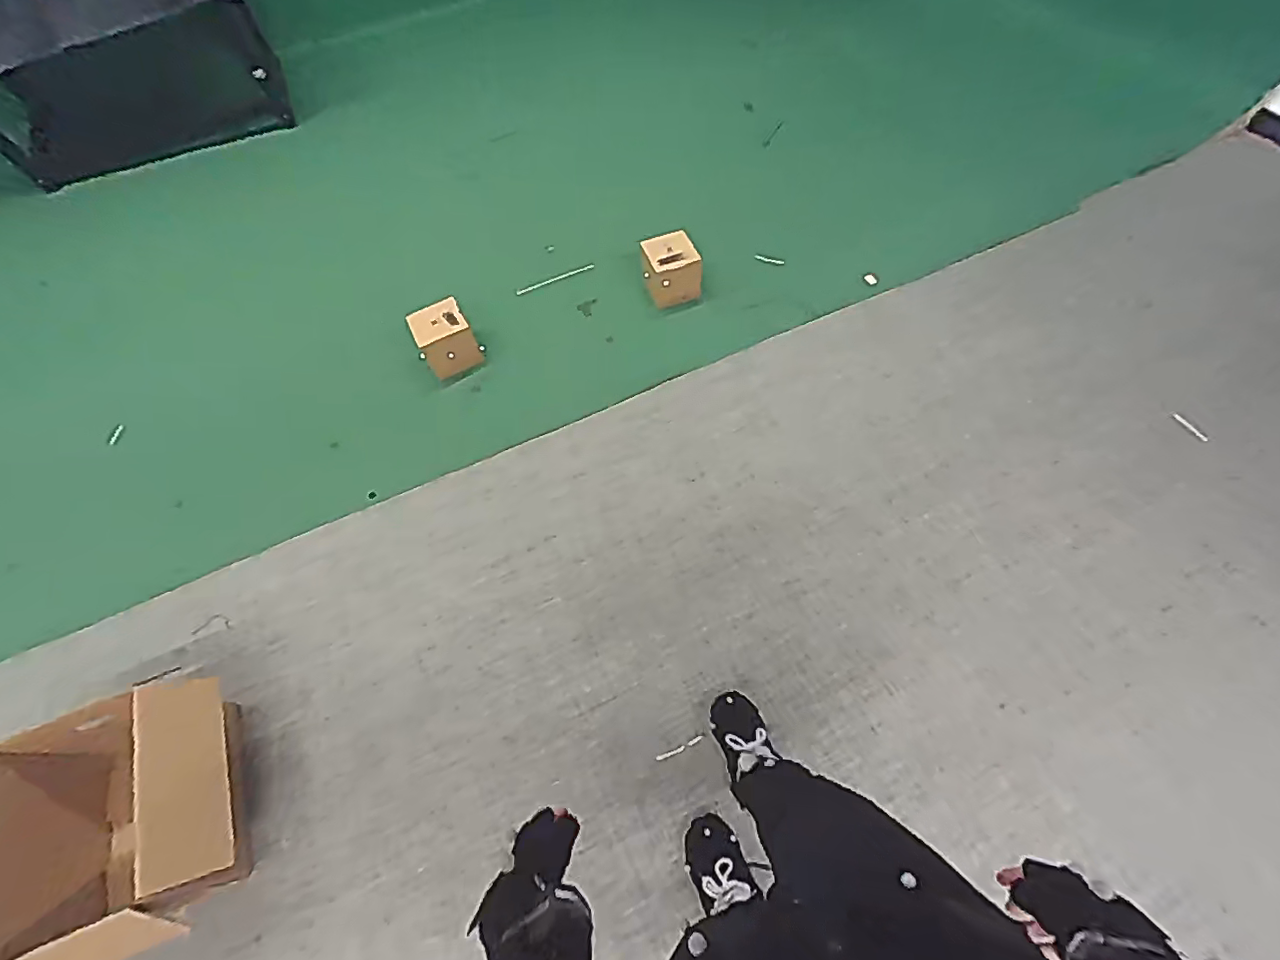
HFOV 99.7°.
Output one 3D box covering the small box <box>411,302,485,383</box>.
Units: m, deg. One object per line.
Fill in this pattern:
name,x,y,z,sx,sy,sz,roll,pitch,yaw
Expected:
small box,-0.651,-0.469,1.859,0.179,0.176,0.168,-27,62,-9
